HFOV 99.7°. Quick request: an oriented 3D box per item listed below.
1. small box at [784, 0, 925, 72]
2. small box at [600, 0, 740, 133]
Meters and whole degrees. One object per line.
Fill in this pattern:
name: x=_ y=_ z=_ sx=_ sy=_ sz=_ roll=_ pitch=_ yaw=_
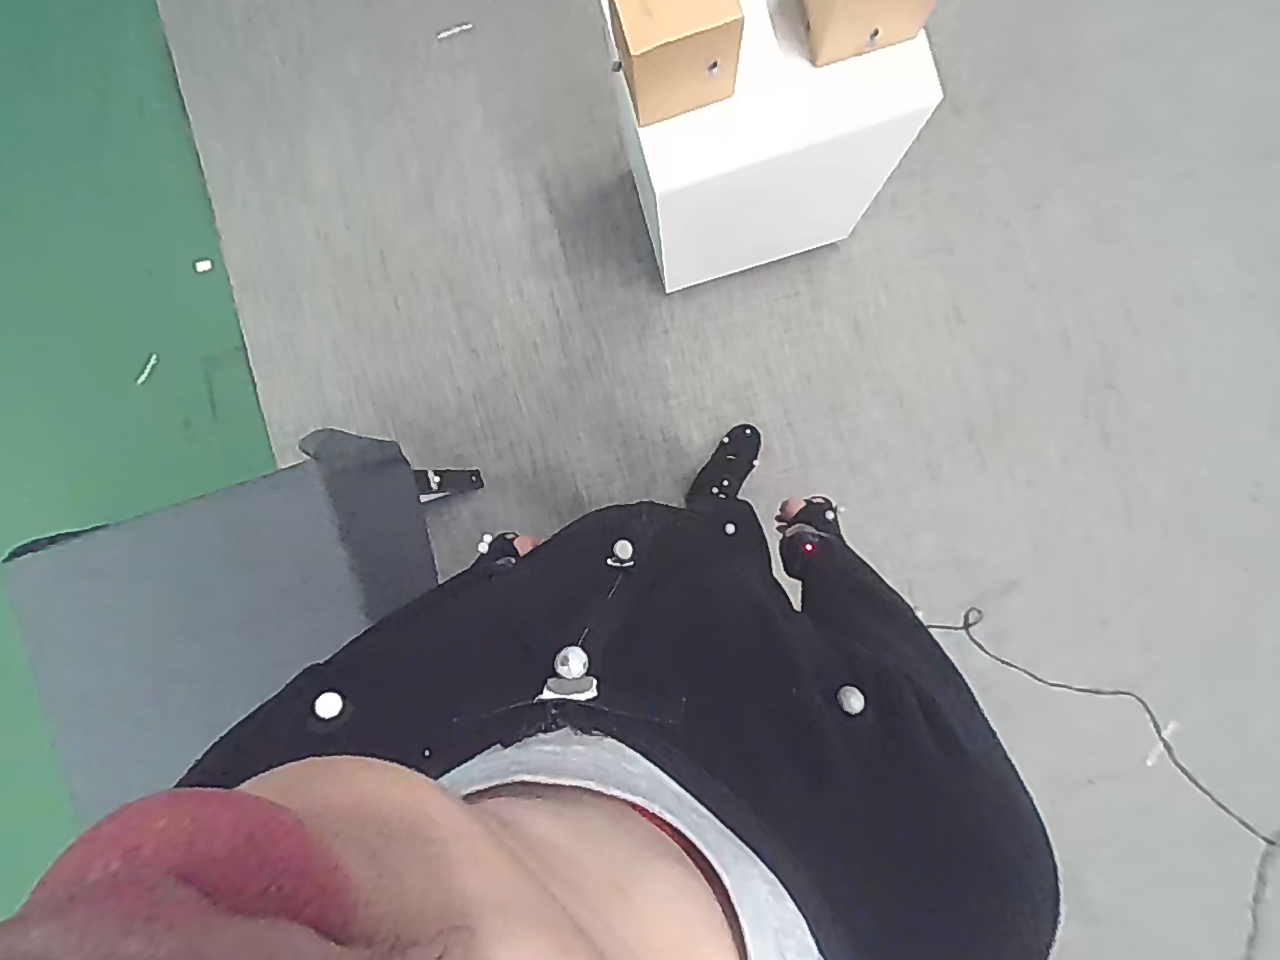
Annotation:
small box: x=0.341 y=-0.793 z=0.844 sx=0.179 sy=0.176 sz=0.168 roll=-15 pitch=89 yaw=3
small box: x=0.041 y=-0.703 z=0.860 sx=0.179 sy=0.176 sz=0.168 roll=-19 pitch=88 yaw=2
